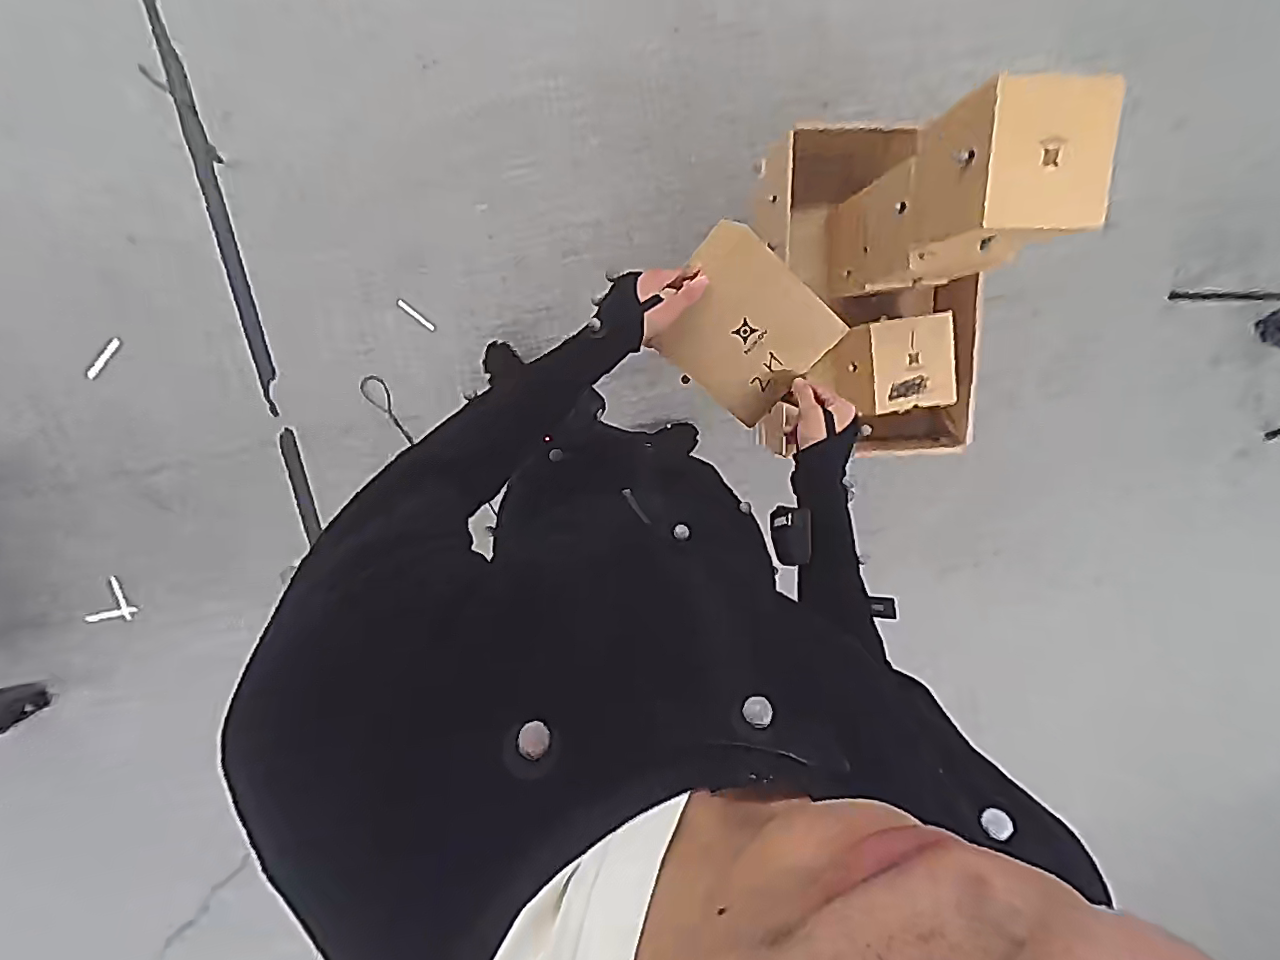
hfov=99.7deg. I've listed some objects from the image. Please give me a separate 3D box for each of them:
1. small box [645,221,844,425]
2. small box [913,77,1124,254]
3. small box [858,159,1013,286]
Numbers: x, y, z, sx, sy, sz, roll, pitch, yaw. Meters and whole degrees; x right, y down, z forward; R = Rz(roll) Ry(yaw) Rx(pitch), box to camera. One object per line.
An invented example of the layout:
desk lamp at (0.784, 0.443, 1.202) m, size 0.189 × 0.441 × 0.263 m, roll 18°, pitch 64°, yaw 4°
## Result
small box at (0.119, -0.207, 0.699) m, size 0.179 × 0.176 × 0.168 m, roll 36°, pitch 111°, yaw -19°
small box at (0.505, -0.419, 0.751) m, size 0.168 × 0.176 × 0.179 m, roll -2°, pitch 102°, yaw -4°
small box at (0.494, -0.428, 0.915) m, size 0.179 × 0.176 × 0.168 m, roll -5°, pitch 102°, yaw -4°
